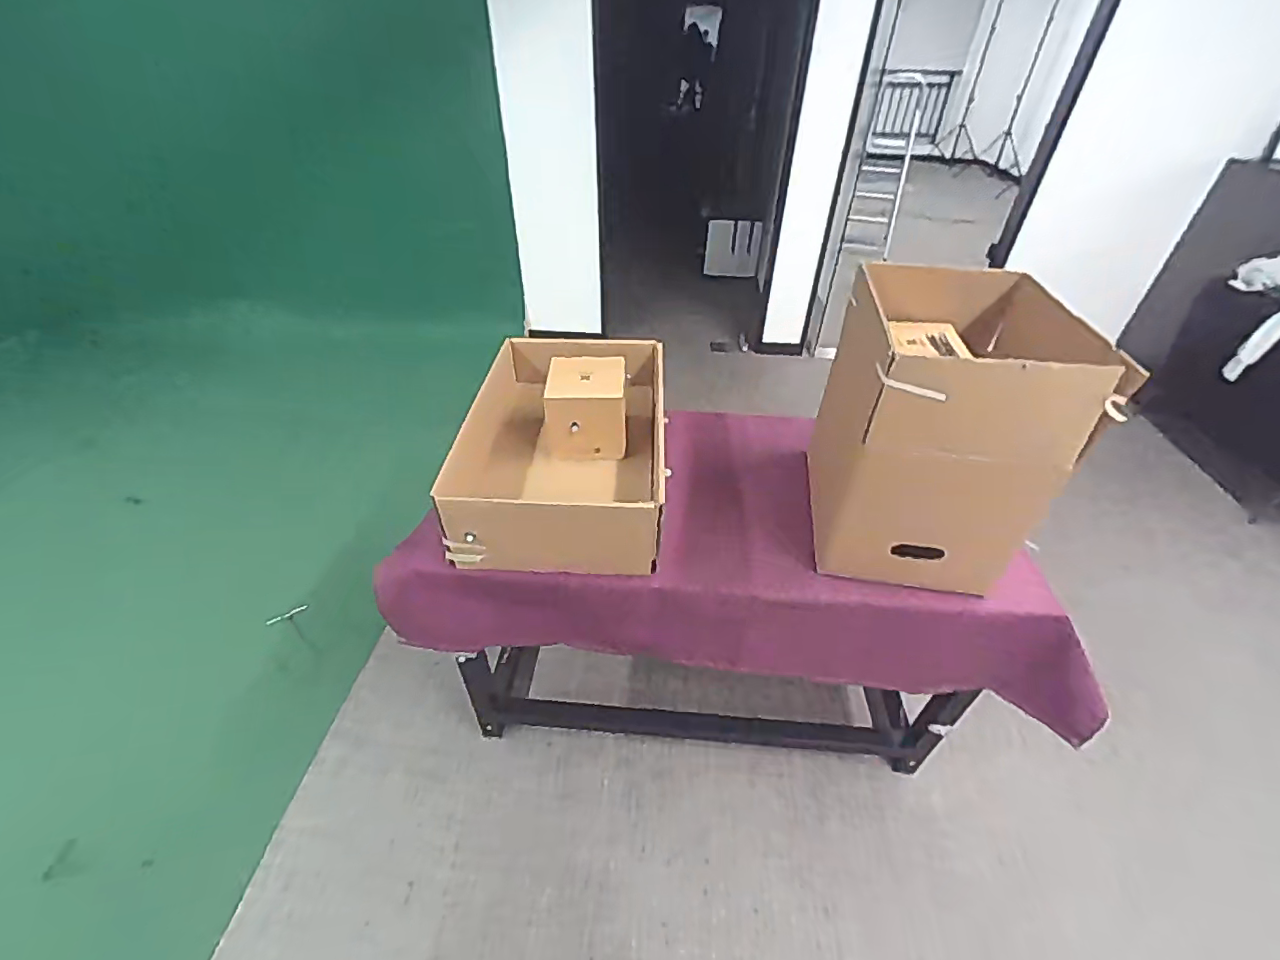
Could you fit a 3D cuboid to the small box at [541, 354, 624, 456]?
[{"bbox_3d":[-0.120,-0.167,1.217,0.168,0.176,0.179,-1,41,0],"label":"small box"}]
